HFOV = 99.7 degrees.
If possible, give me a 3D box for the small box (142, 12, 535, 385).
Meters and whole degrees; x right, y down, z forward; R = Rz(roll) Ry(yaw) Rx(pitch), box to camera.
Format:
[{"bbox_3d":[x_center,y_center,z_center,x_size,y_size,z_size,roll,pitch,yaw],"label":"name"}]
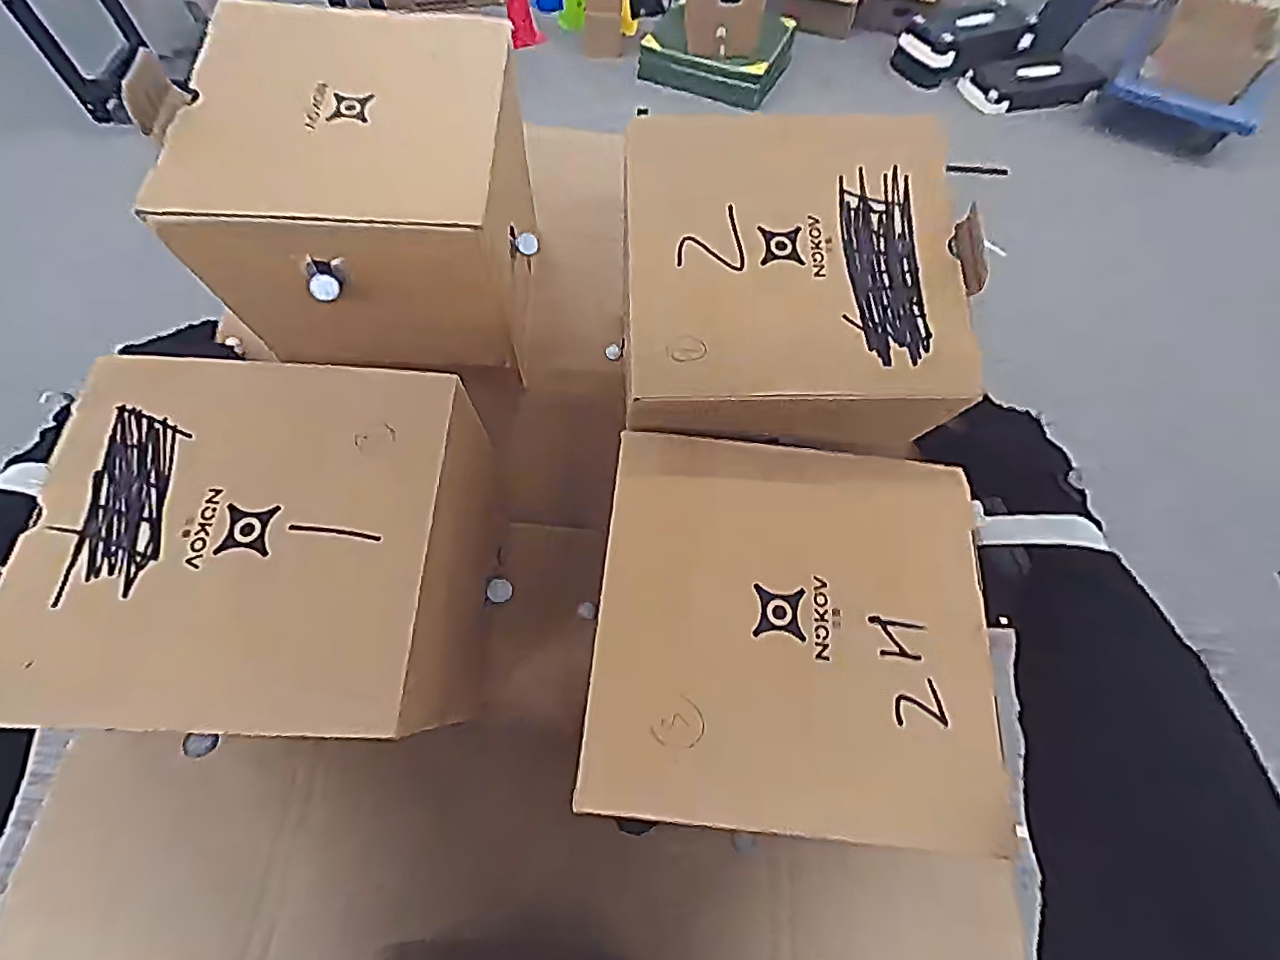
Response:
[{"bbox_3d":[-0.174,-0.179,0.384,0.179,0.176,0.168,1,70,-2],"label":"small box"}]
